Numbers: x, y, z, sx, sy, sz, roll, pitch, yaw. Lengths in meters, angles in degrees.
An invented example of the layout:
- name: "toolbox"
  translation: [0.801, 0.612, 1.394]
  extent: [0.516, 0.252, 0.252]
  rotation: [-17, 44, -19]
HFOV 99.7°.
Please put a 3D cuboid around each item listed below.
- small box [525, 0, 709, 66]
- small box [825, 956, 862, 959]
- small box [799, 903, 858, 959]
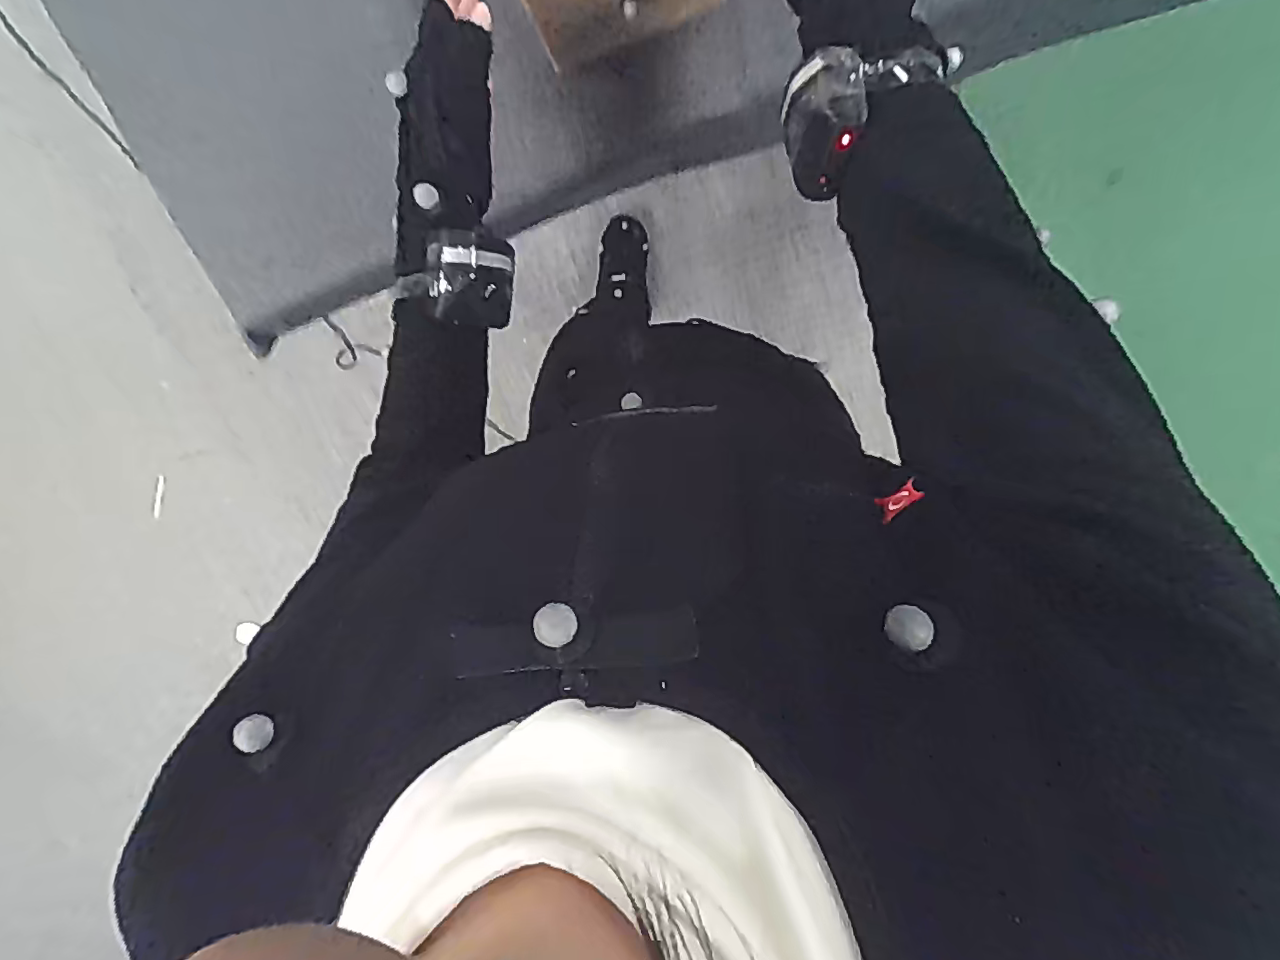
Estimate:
- name: "small box"
  translation: [-0.027, -0.477, 0.428]
  extent: [0.179, 0.176, 0.168]
  rotation: [-17, 108, 9]
- name: "small box"
  translation: [0.695, 1.759, 1.826]
  extent: [0.179, 0.176, 0.168]
  rotation: [-14, 110, 7]
- name: "small box"
  translation: [0.695, 1.700, 1.979]
  extent: [0.179, 0.176, 0.168]
  rotation: [-17, 110, 6]
